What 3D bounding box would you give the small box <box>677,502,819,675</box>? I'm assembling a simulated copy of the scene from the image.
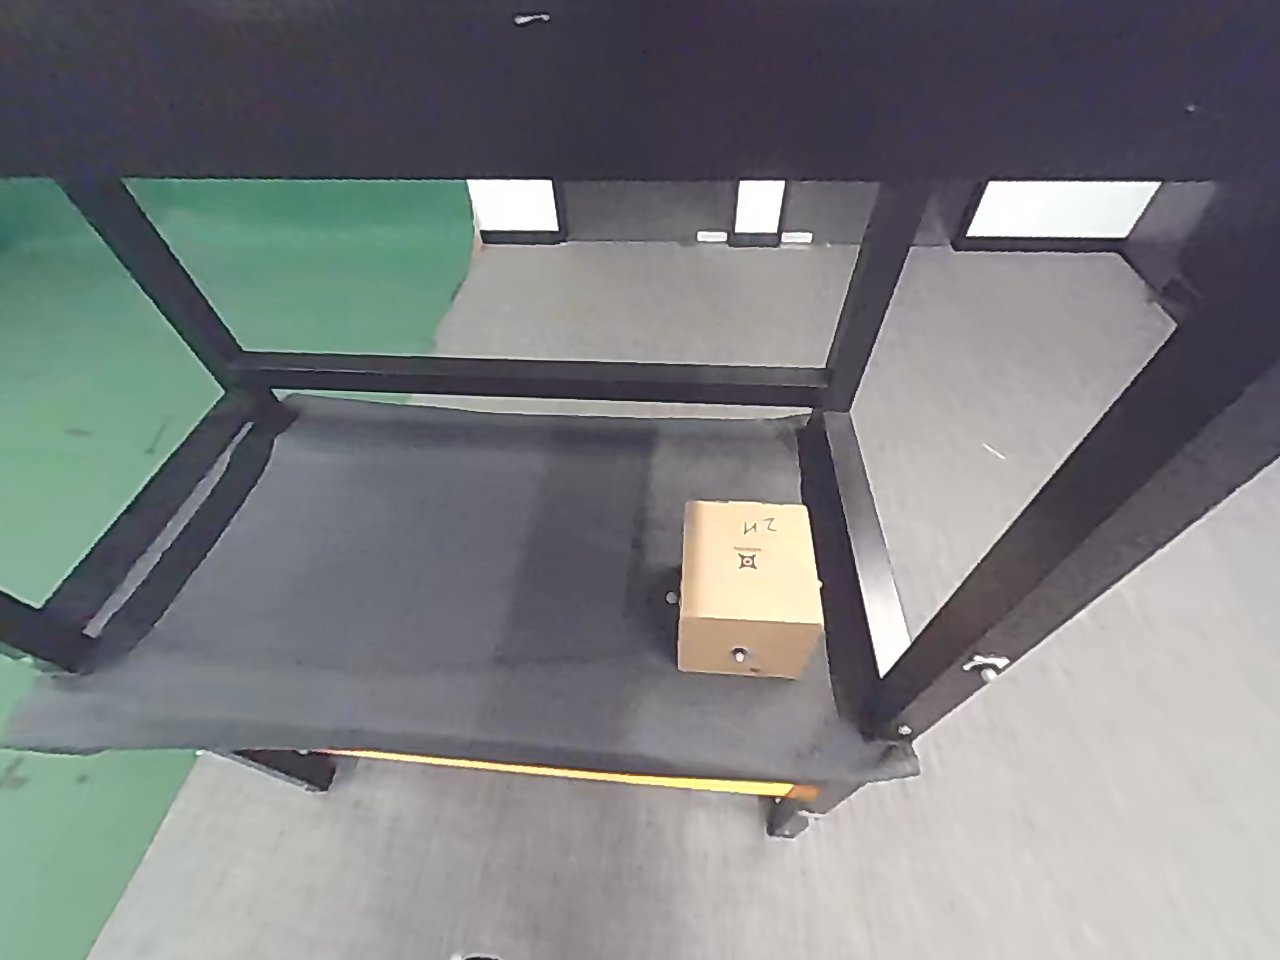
[{"bbox_3d":[0.137,0.152,0.742,0.168,0.176,0.179,3,49,4],"label":"small box"}]
